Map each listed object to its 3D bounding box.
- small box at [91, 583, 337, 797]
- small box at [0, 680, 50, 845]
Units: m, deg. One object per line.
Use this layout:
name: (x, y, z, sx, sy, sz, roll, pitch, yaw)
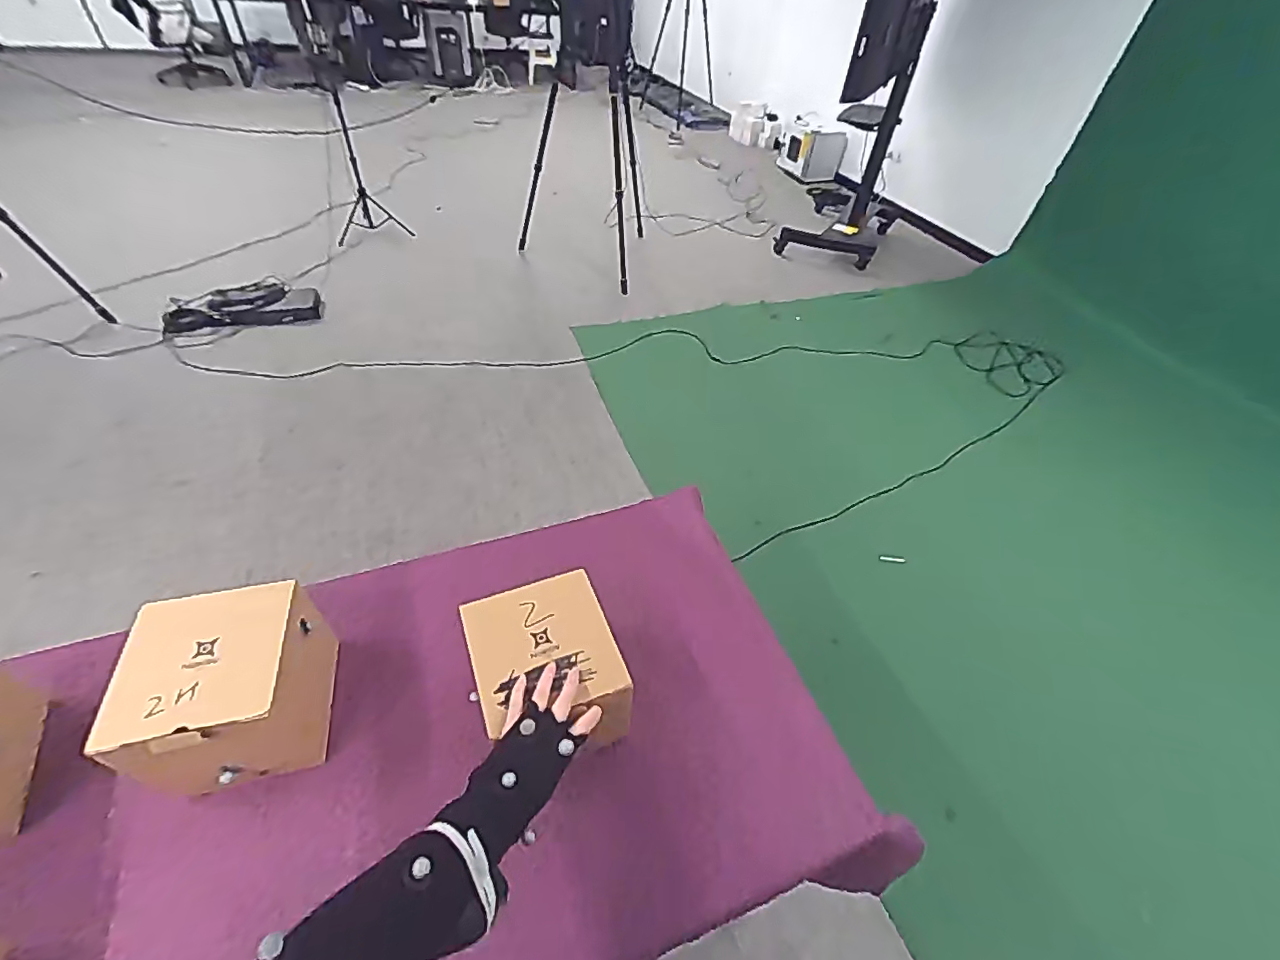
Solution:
small box: (-0.492, 0.256, 0.665, 0.168, 0.176, 0.179, -8, 47, -13)
small box: (-0.801, 0.316, 0.577, 0.168, 0.176, 0.179, -16, 50, -21)
